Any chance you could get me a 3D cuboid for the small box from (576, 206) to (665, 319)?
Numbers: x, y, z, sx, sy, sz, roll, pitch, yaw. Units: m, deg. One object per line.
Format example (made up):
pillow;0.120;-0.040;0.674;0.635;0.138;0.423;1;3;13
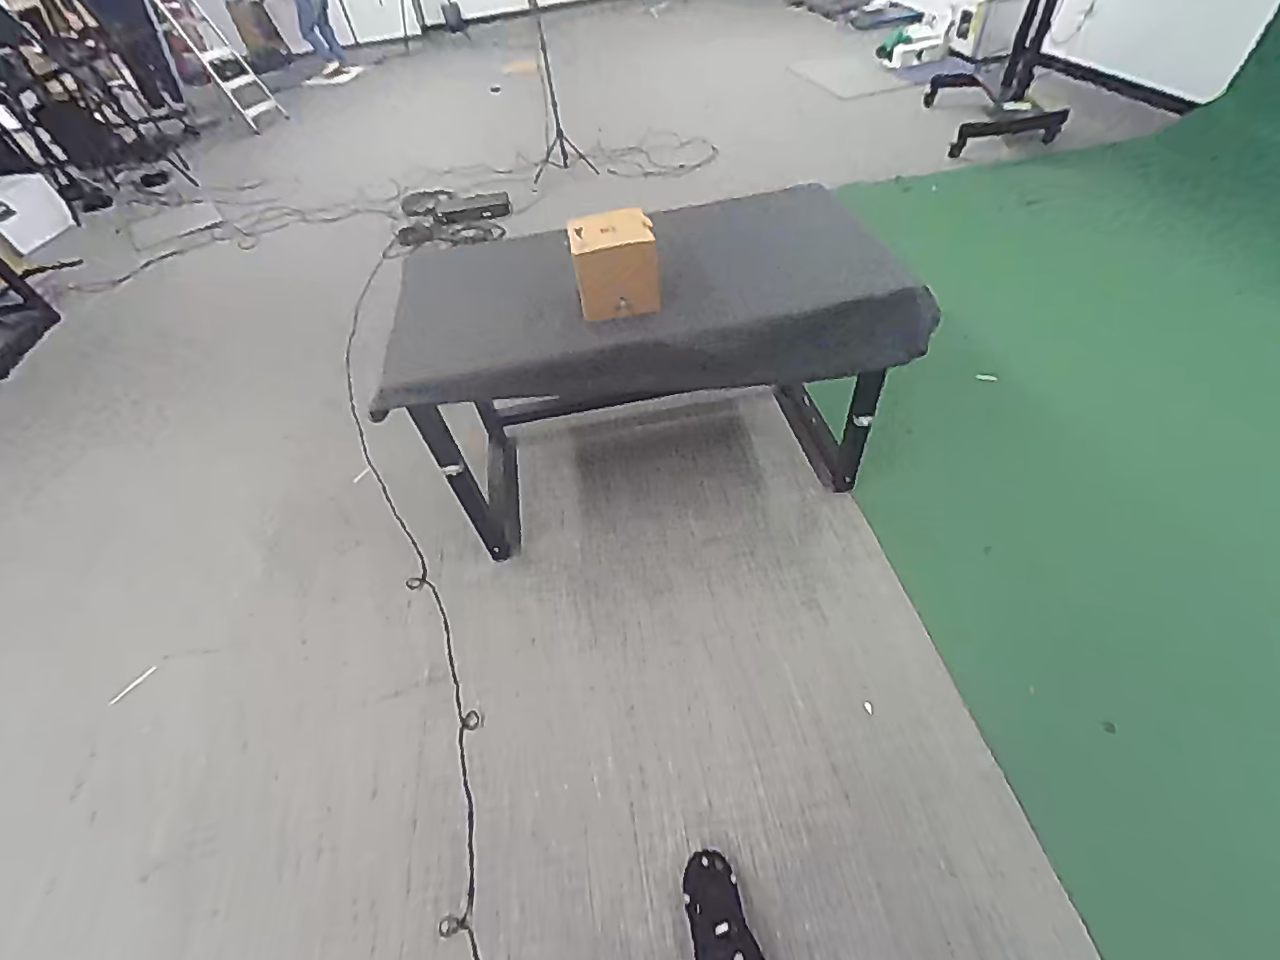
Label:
small box;-0.041;-0.489;1.224;0.179;0.176;0.168;-10;48;-1
